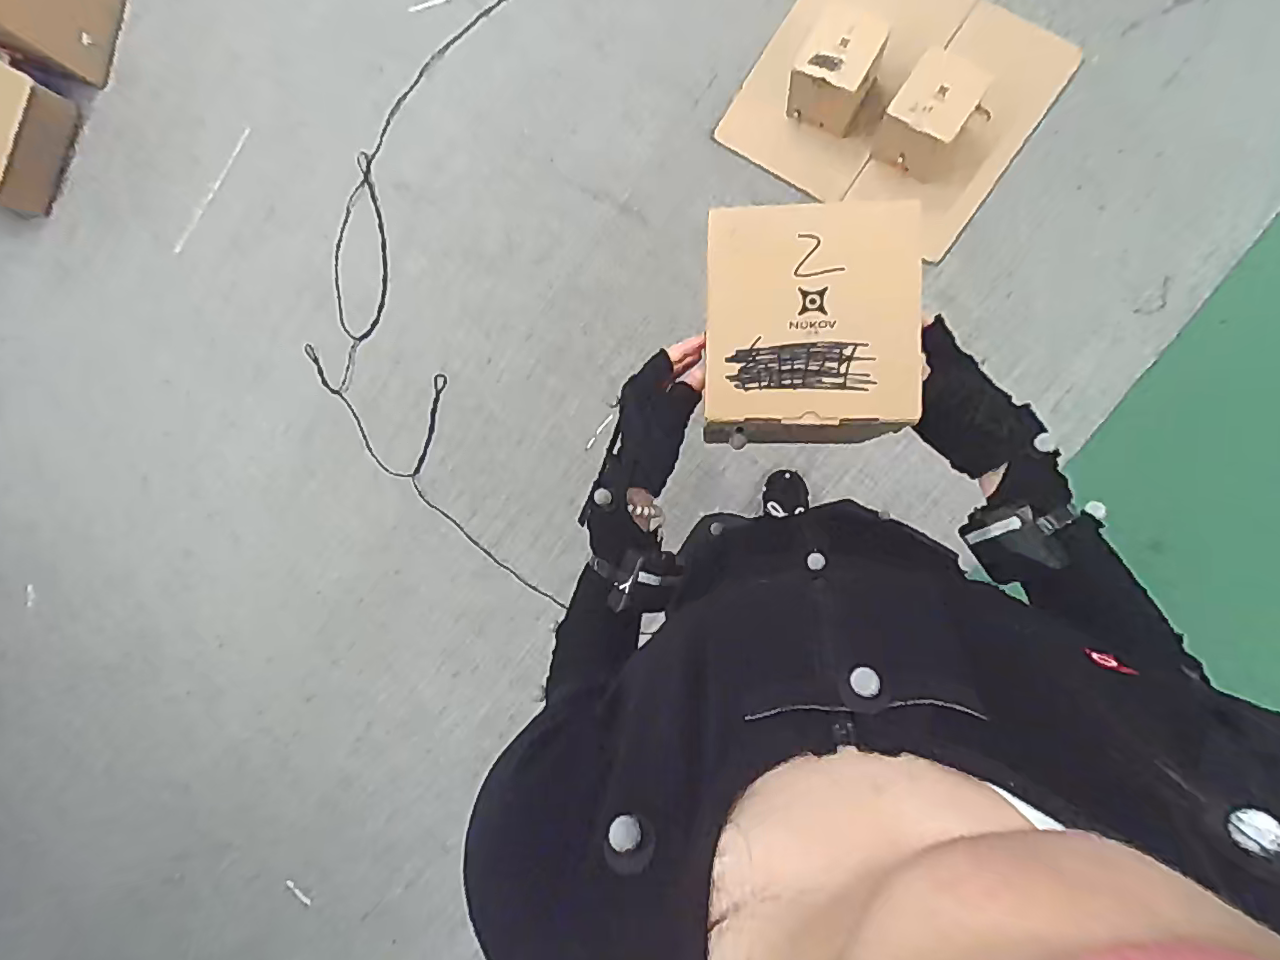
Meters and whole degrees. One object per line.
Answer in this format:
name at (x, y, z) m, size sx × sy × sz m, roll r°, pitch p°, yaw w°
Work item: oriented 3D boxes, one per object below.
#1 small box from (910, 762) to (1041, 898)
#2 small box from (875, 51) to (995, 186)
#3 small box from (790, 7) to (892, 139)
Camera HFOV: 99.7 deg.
small box at (0.782, 0.818, 1.284) m, size 0.168 × 0.176 × 0.179 m, roll 45°, pitch 97°, yaw 8°
small box at (0.695, -0.860, 1.302) m, size 0.168 × 0.176 × 0.179 m, roll 35°, pitch 96°, yaw 10°
small box at (0.486, -0.996, 1.339) m, size 0.168 × 0.176 × 0.179 m, roll 30°, pitch 94°, yaw 10°
